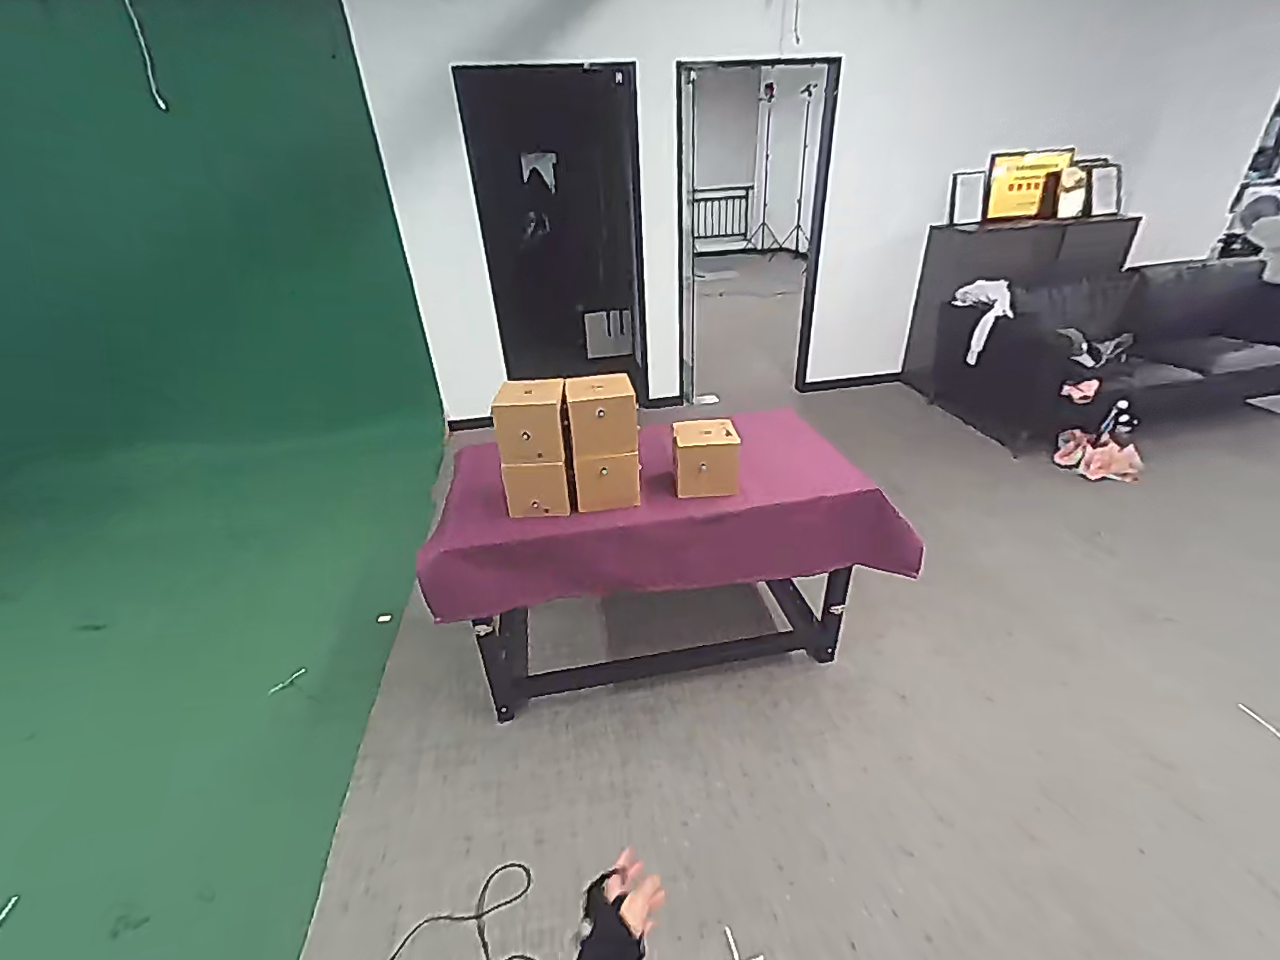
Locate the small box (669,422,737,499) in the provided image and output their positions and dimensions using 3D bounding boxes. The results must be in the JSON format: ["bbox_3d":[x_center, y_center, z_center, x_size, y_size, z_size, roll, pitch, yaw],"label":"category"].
[{"bbox_3d":[0.179,-0.054,1.570,0.179,0.176,0.168,-4,30,-1],"label":"small box"}]
